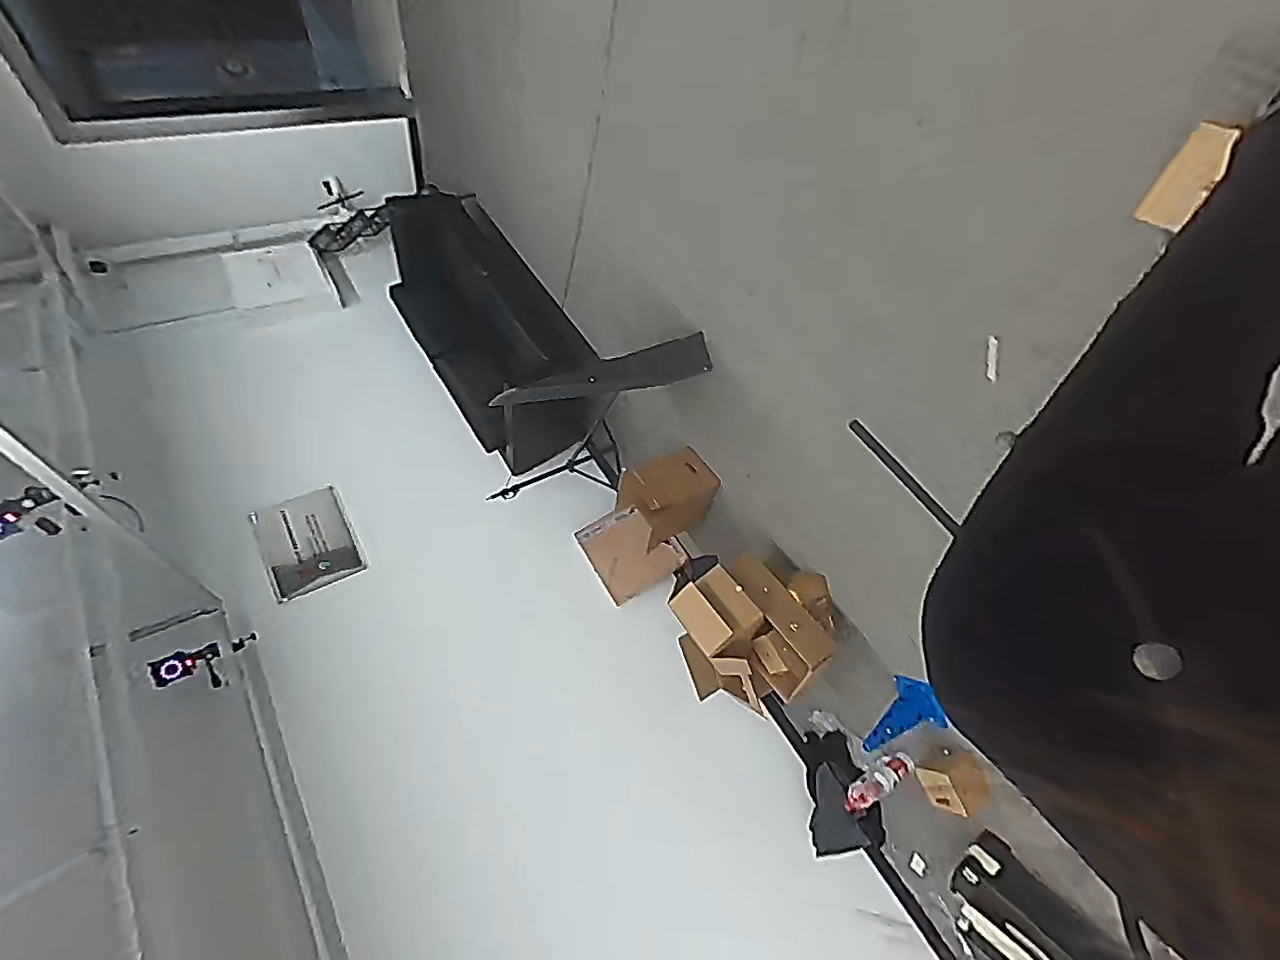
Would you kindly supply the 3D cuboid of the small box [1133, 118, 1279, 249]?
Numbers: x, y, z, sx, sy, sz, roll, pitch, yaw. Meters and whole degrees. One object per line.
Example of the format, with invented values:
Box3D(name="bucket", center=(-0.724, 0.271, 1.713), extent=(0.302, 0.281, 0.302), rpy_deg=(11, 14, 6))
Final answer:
Box3D(name="small box", center=(1.100, -0.555, 1.005), extent=(0.179, 0.176, 0.168), rpy_deg=(49, 149, 32))
